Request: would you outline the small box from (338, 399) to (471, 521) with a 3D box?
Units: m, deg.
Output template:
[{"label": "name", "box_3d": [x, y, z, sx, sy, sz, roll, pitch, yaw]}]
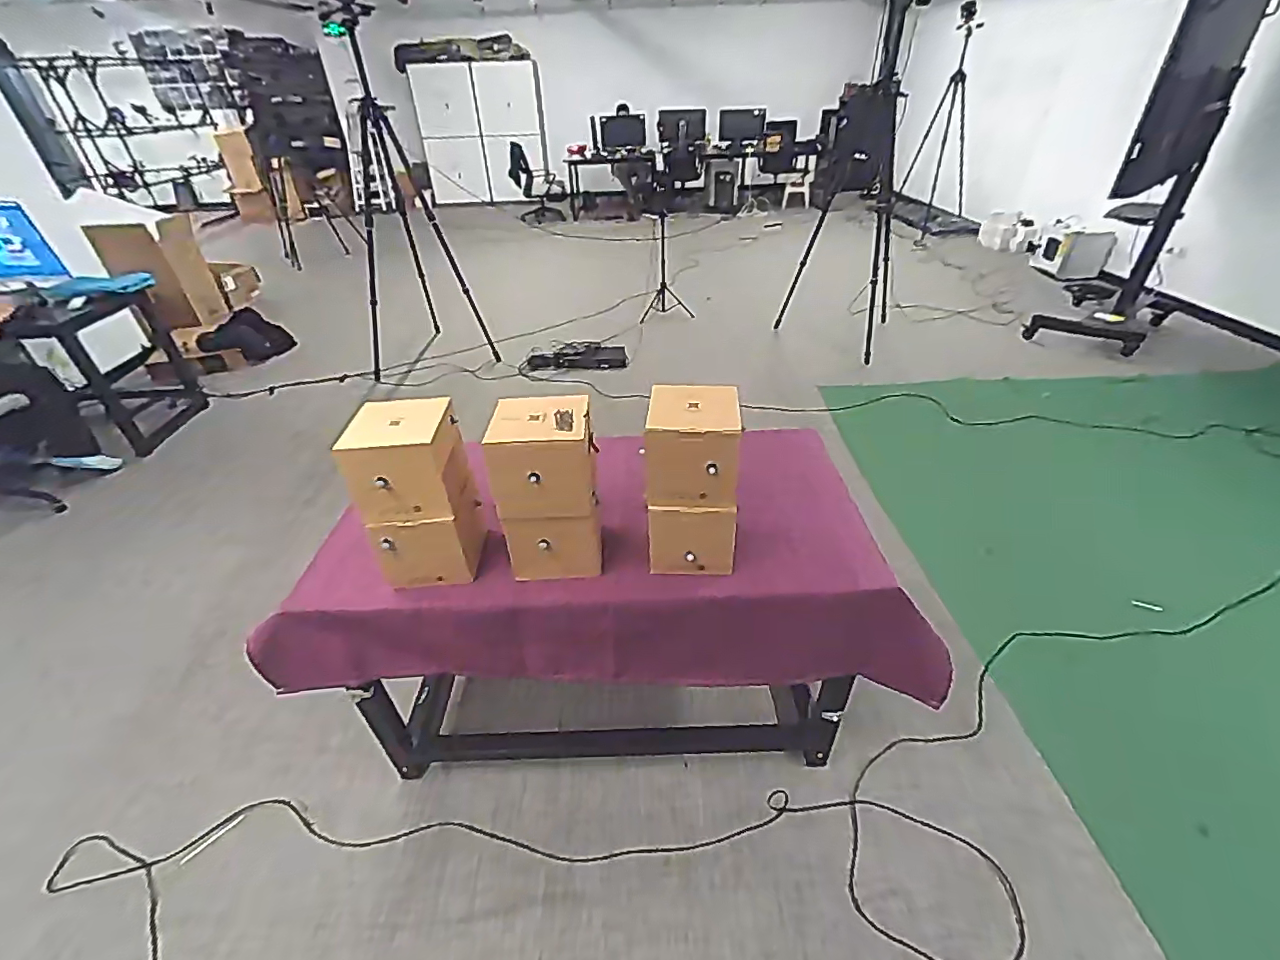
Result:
[{"label": "small box", "box_3d": [-0.432, -0.034, 1.028, 0.168, 0.176, 0.179, -5, 35, -2]}]

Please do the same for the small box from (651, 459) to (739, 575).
[{"label": "small box", "box_3d": [0.111, 0.073, 1.110, 0.168, 0.176, 0.179, 0, 35, 6]}]

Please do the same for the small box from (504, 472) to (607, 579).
[{"label": "small box", "box_3d": [-0.165, 0.089, 1.115, 0.179, 0.176, 0.168, -3, 36, 0]}]

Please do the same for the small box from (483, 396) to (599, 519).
[{"label": "small box", "box_3d": [-0.172, -0.042, 1.014, 0.179, 0.176, 0.168, -3, 35, 2]}]
